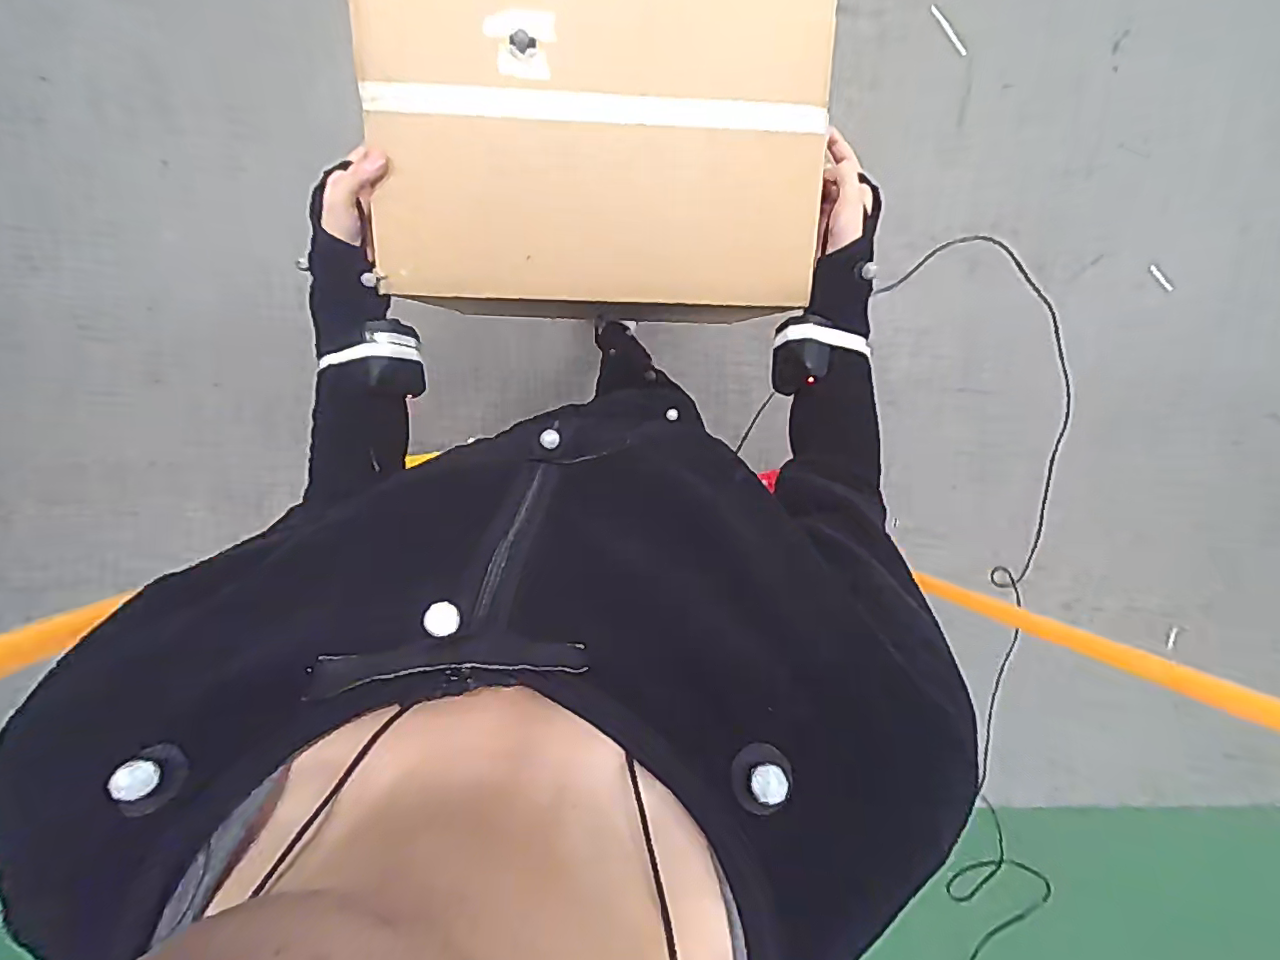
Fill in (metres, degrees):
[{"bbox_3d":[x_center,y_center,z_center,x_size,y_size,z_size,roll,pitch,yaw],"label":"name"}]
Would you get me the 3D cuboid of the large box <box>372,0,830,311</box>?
[{"bbox_3d":[-0.038,-0.365,0.630,0.408,0.320,0.320,0,103,-4],"label":"large box"}]
